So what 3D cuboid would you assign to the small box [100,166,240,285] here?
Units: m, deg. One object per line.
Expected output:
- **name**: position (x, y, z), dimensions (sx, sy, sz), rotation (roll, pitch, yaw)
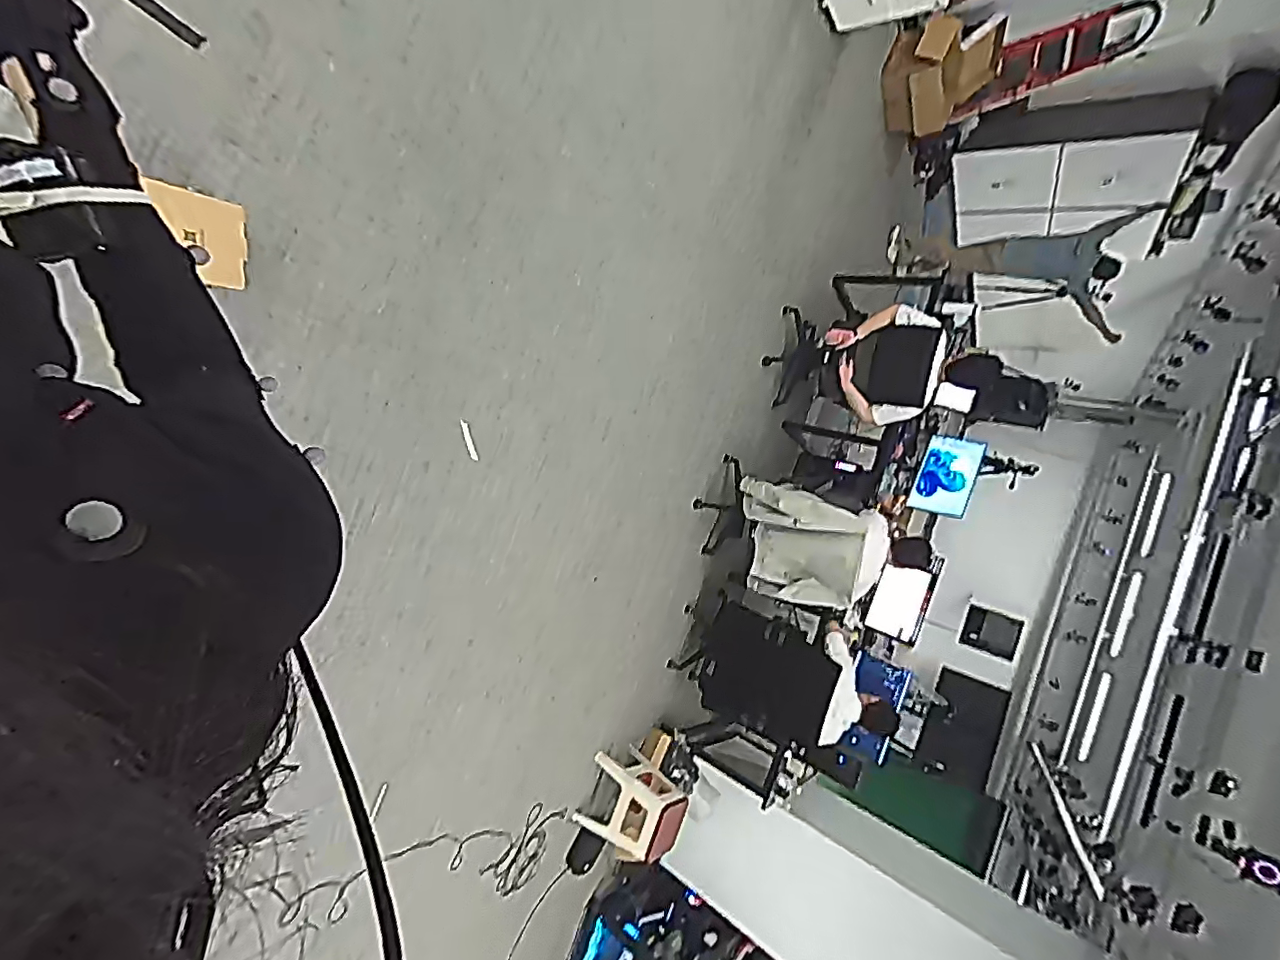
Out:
- **small box**: position (-0.926, -0.494, 1.067), dimensions (0.179, 0.176, 0.168), rotation (-4, 107, -53)
